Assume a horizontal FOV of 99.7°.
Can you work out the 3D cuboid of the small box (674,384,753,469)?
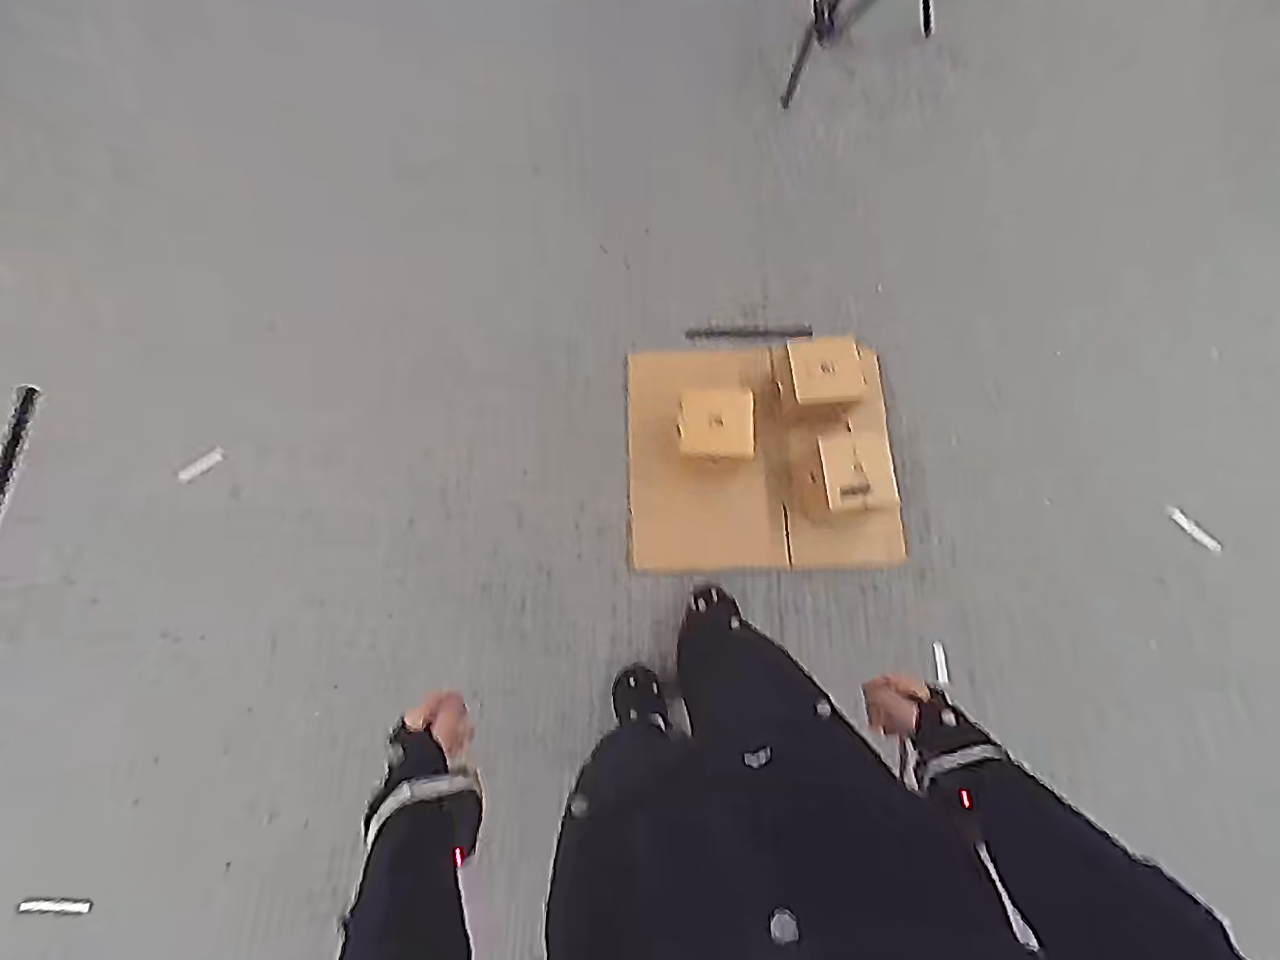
[{"bbox_3d":[0.181,-0.129,1.357,0.179,0.176,0.168,2,76,2],"label":"small box"}]

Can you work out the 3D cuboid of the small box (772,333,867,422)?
[{"bbox_3d":[0.454,-0.259,1.392,0.179,0.176,0.168,-6,75,-1],"label":"small box"}]

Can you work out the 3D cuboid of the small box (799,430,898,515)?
[{"bbox_3d":[0.502,-0.011,1.328,0.168,0.176,0.179,-5,76,-1],"label":"small box"}]
